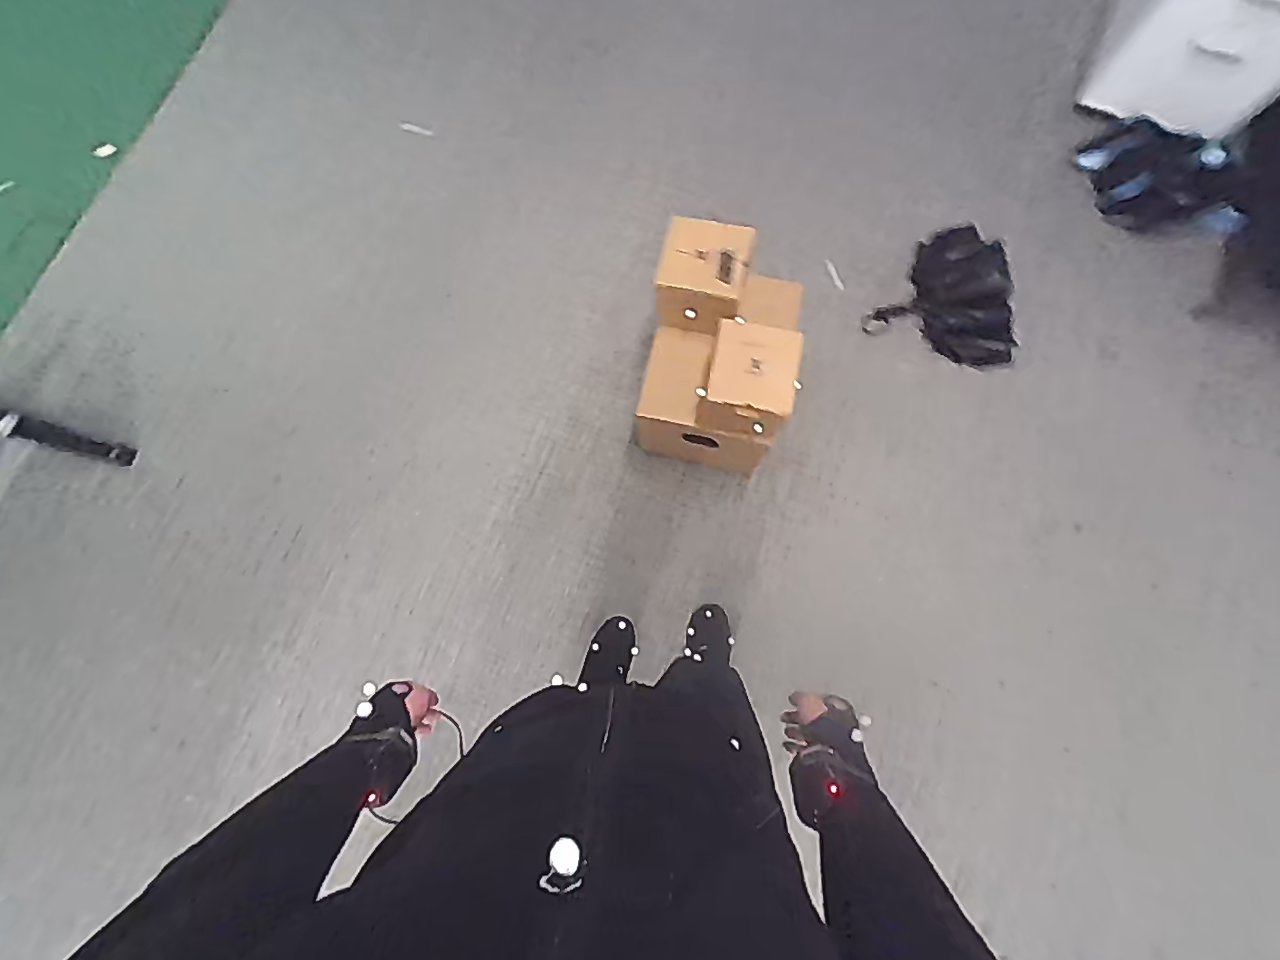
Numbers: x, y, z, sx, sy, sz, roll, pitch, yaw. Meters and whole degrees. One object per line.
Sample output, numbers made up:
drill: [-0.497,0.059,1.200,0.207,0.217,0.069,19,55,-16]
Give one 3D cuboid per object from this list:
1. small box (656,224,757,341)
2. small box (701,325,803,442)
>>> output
small box: [0.143,-0.422,1.182,0.179,0.176,0.168,14,78,9]
small box: [0.225,-0.192,1.126,0.168,0.176,0.179,11,77,2]
